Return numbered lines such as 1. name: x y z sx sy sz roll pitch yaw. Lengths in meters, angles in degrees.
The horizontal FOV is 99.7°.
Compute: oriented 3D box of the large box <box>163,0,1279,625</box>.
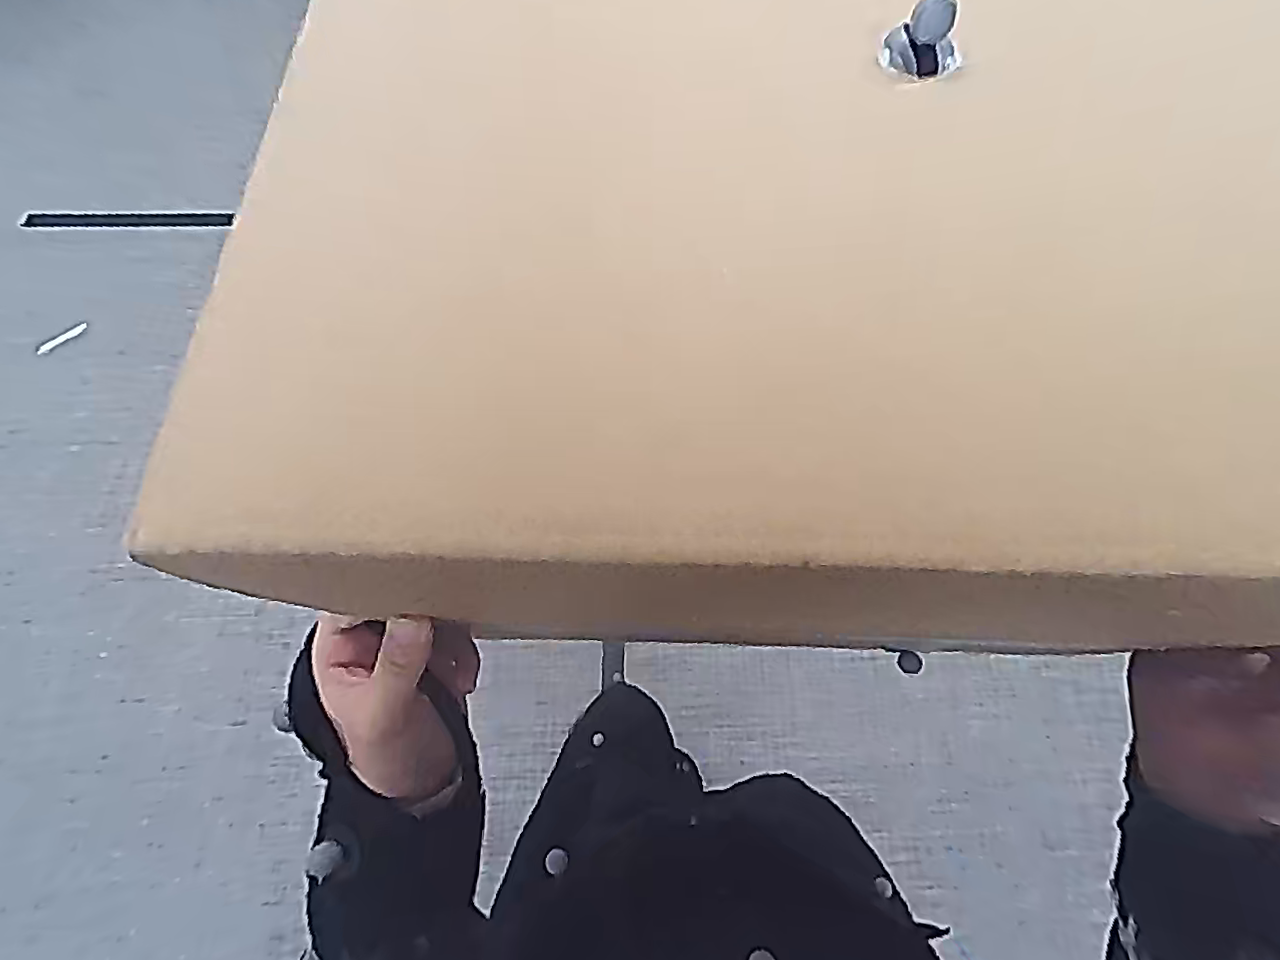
1. large box: 0.083 -0.087 0.313 0.408 0.320 0.320 0 72 1
